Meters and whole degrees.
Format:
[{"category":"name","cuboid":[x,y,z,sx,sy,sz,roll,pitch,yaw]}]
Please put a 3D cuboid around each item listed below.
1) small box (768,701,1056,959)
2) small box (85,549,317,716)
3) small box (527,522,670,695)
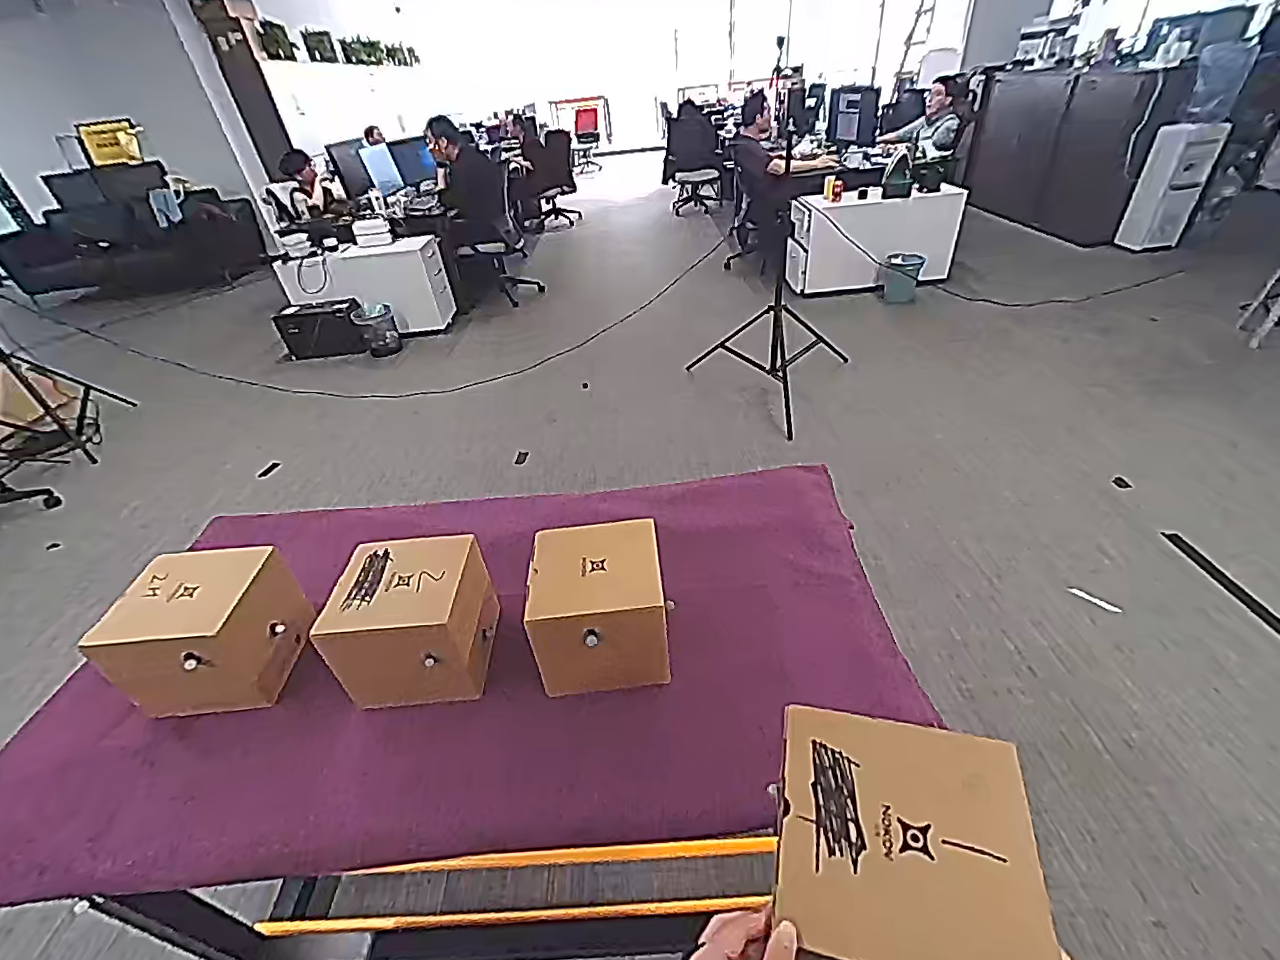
[{"category":"small box","cuboid":[0.204,0.314,0.453,0.179,0.176,0.168,4,46,17]},{"category":"small box","cuboid":[-0.618,0.223,0.796,0.179,0.176,0.168,-5,36,-1]},{"category":"small box","cuboid":[-0.051,0.183,0.773,0.179,0.176,0.168,-7,36,1]}]
